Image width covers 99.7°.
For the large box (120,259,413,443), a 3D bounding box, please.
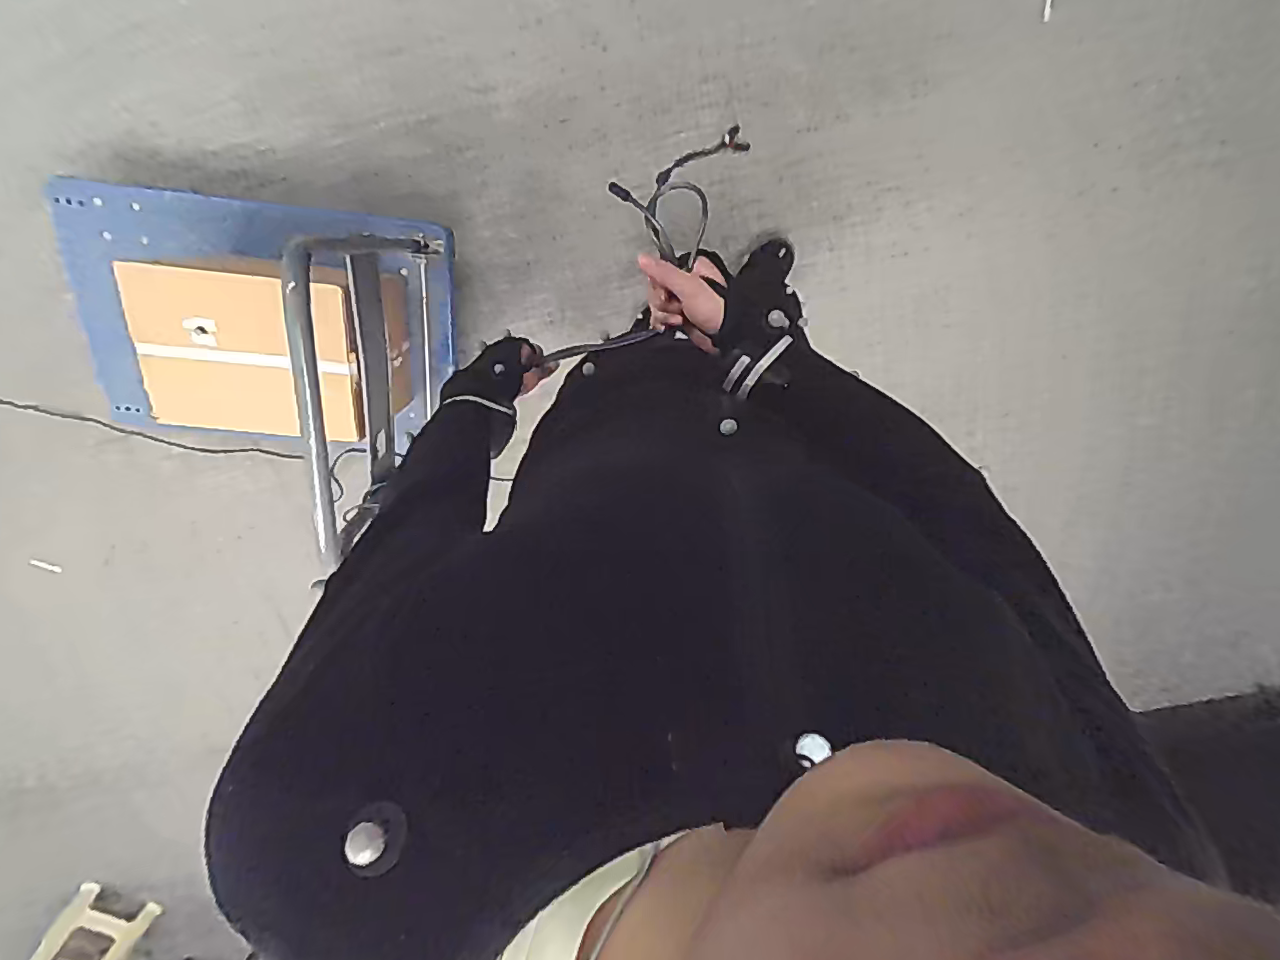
[{"bbox_3d":[-0.762,-0.293,1.183,0.408,0.320,0.320,6,113,-3],"label":"large box"}]
